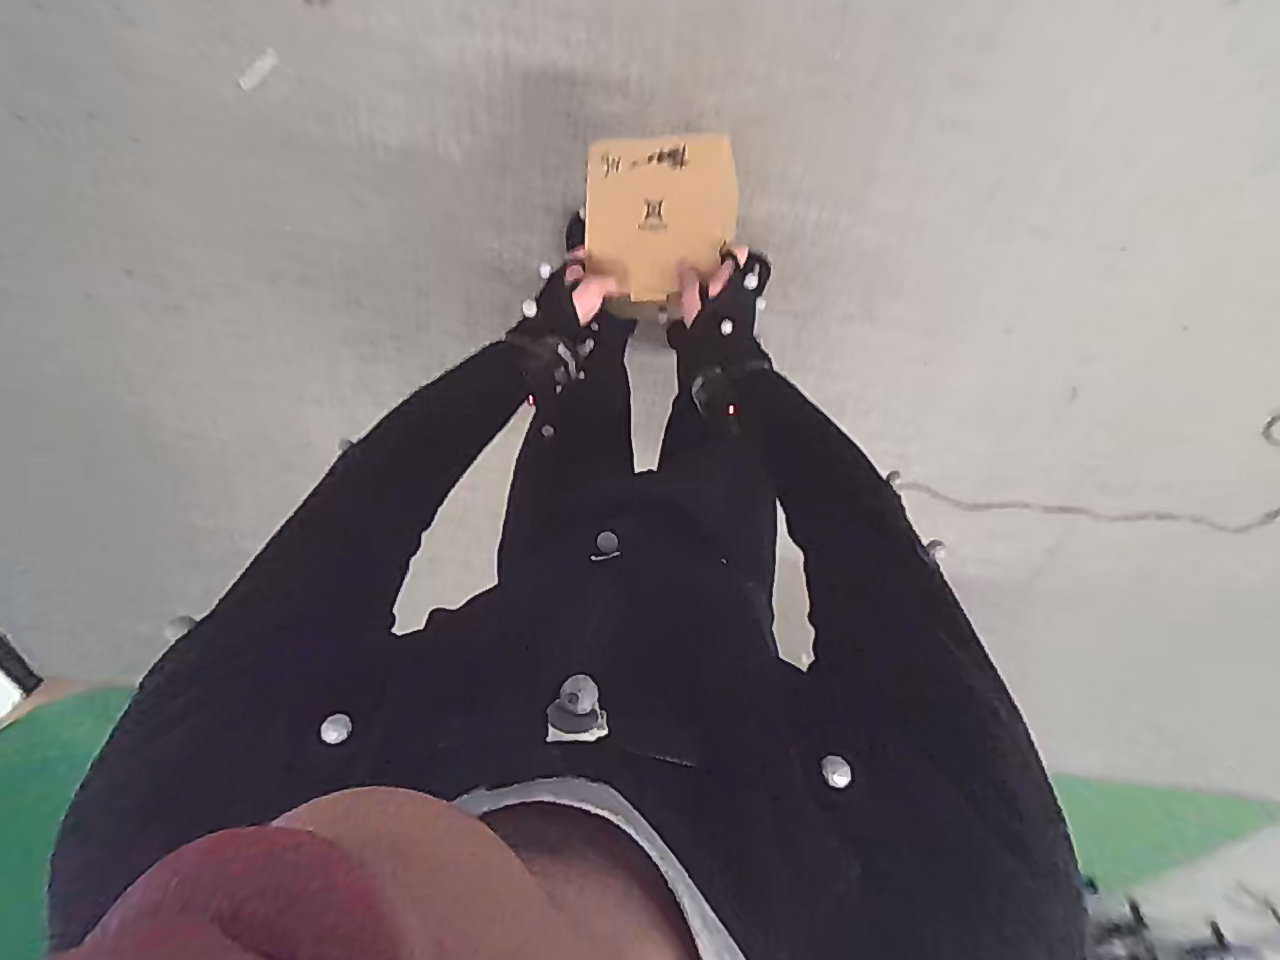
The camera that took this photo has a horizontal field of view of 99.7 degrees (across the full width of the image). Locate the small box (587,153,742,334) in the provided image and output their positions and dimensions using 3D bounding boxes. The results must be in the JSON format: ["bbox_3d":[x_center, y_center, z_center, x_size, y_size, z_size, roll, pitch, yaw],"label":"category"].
[{"bbox_3d":[0.040,-0.286,0.695,0.168,0.176,0.179,5,97,14],"label":"small box"}]
